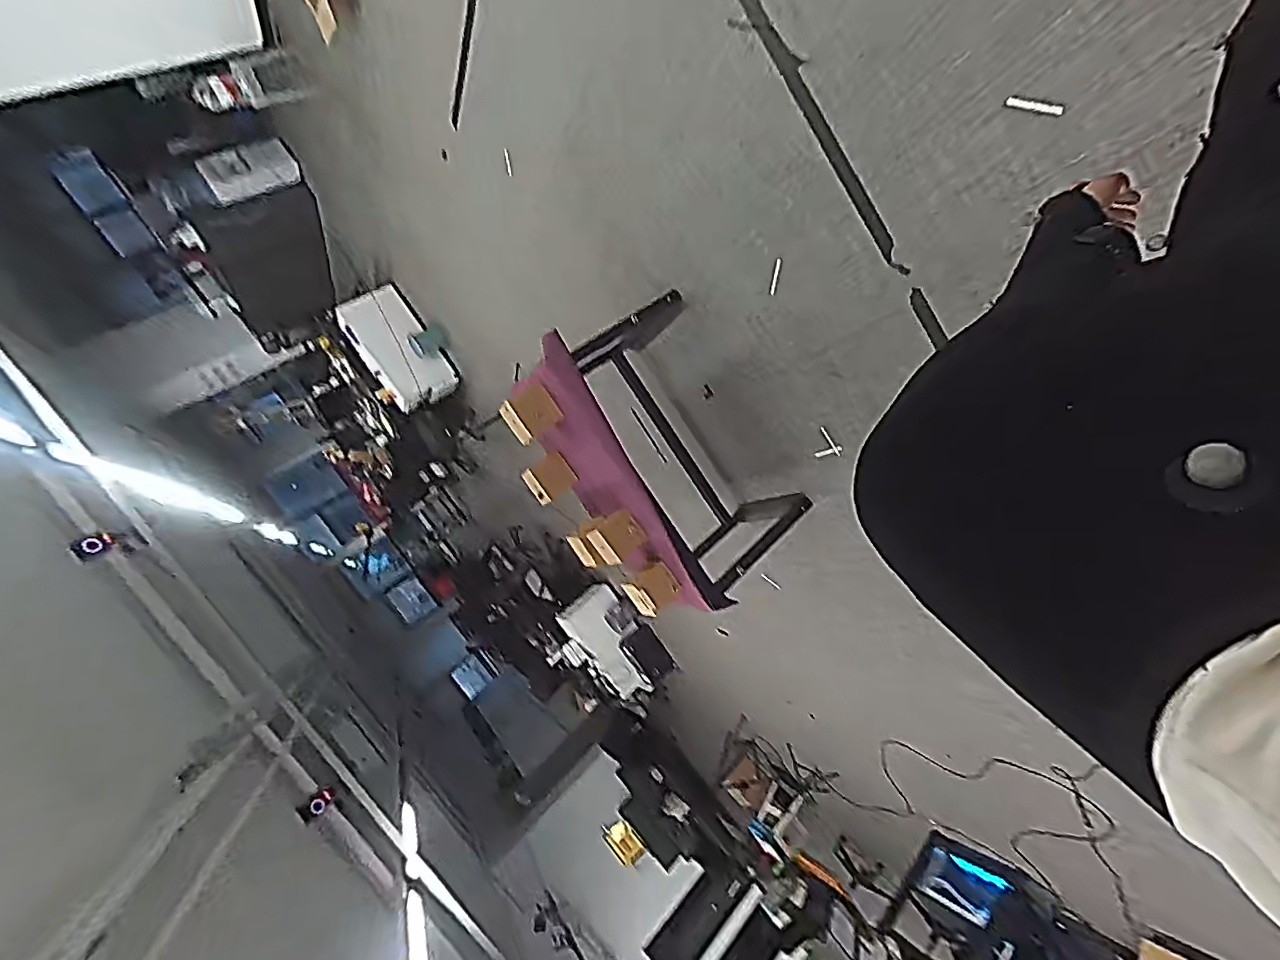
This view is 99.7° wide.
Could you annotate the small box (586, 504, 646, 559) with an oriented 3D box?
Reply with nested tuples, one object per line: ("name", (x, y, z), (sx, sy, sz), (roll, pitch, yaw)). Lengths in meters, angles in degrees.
("small box", (-0.102, 0.224, 2.332), (0.168, 0.176, 0.179), (53, 155, -4))

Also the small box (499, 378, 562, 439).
("small box", (-0.451, -0.296, 2.234), (0.179, 0.176, 0.168), (55, 155, -10))

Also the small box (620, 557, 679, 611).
("small box", (0.048, 0.450, 2.367), (0.168, 0.176, 0.179), (55, 156, -6))

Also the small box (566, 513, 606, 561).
("small box", (-0.219, 0.272, 2.585), (0.168, 0.176, 0.179), (57, 154, -10))
